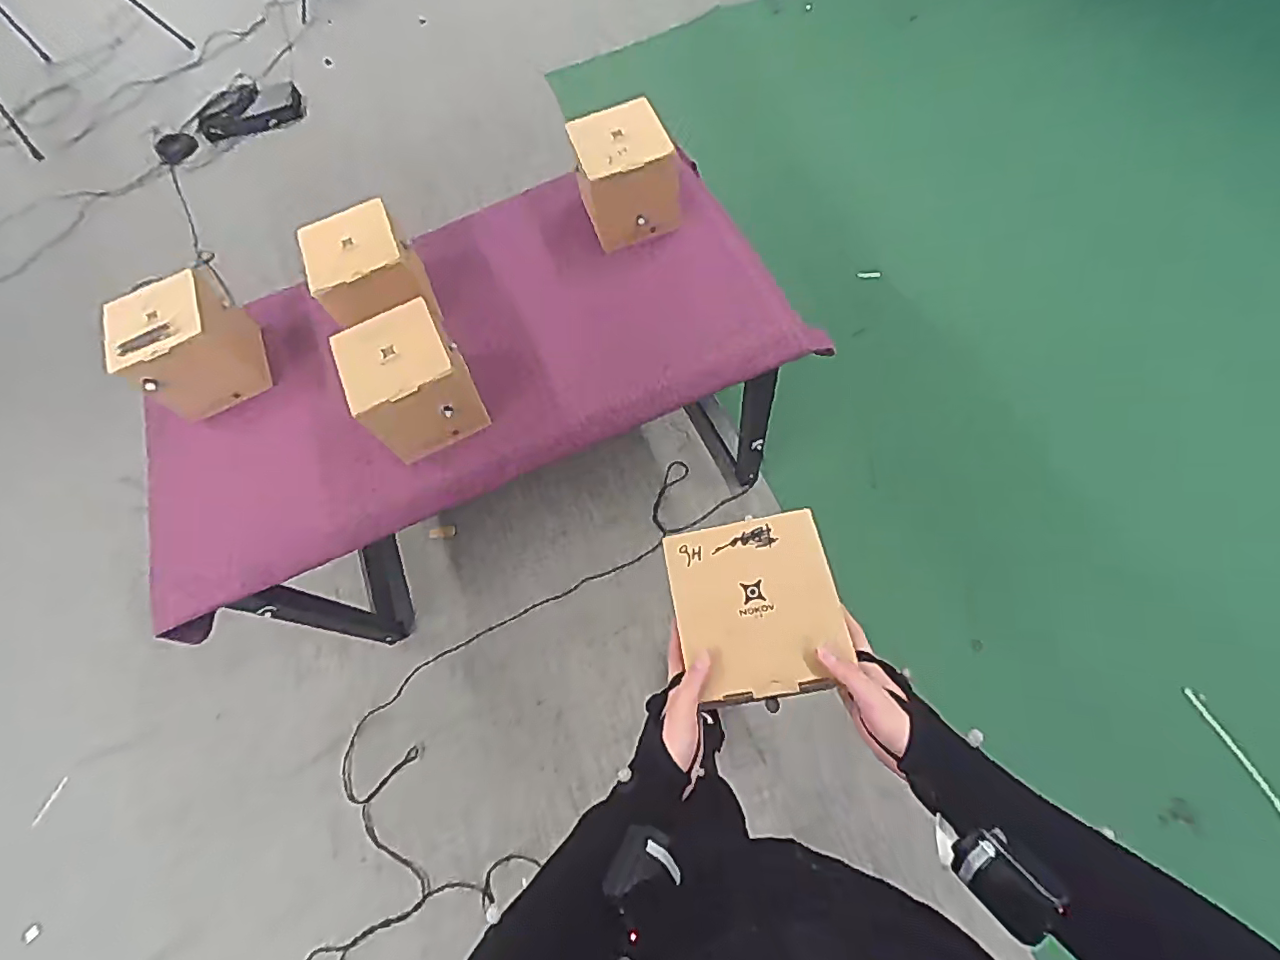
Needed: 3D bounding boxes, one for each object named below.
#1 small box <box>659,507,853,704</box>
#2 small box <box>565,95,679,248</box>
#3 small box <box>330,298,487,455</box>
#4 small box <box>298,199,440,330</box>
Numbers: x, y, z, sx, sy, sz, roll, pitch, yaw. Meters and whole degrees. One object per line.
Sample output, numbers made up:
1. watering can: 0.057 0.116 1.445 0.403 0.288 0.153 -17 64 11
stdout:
1. small box: 0.125 0.152 0.621 0.168 0.176 0.179 -12 65 5
2. small box: -0.031 -0.592 1.051 0.168 0.176 0.179 -20 66 0
3. small box: -0.382 -0.162 0.914 0.168 0.176 0.179 -26 65 -5
4. small box: -0.508 -0.384 1.028 0.168 0.176 0.179 -25 67 -4
